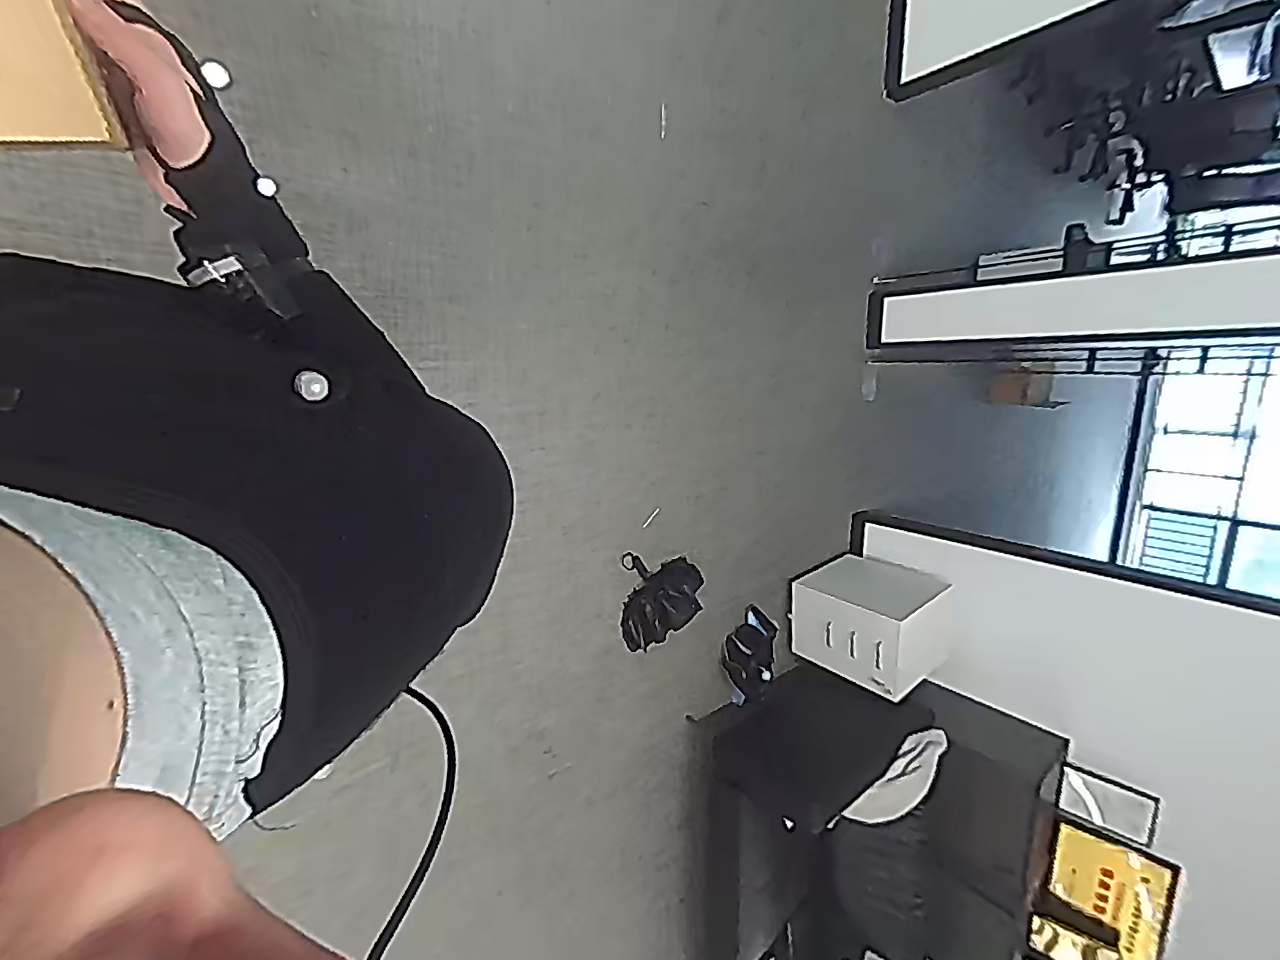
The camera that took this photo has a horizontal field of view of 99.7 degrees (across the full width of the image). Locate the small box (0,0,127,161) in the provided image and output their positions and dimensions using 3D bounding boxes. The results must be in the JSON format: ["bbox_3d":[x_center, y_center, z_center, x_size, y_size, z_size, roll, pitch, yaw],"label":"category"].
[{"bbox_3d":[-0.386,-0.251,0.251,0.168,0.176,0.179,-21,127,-30],"label":"small box"}]
